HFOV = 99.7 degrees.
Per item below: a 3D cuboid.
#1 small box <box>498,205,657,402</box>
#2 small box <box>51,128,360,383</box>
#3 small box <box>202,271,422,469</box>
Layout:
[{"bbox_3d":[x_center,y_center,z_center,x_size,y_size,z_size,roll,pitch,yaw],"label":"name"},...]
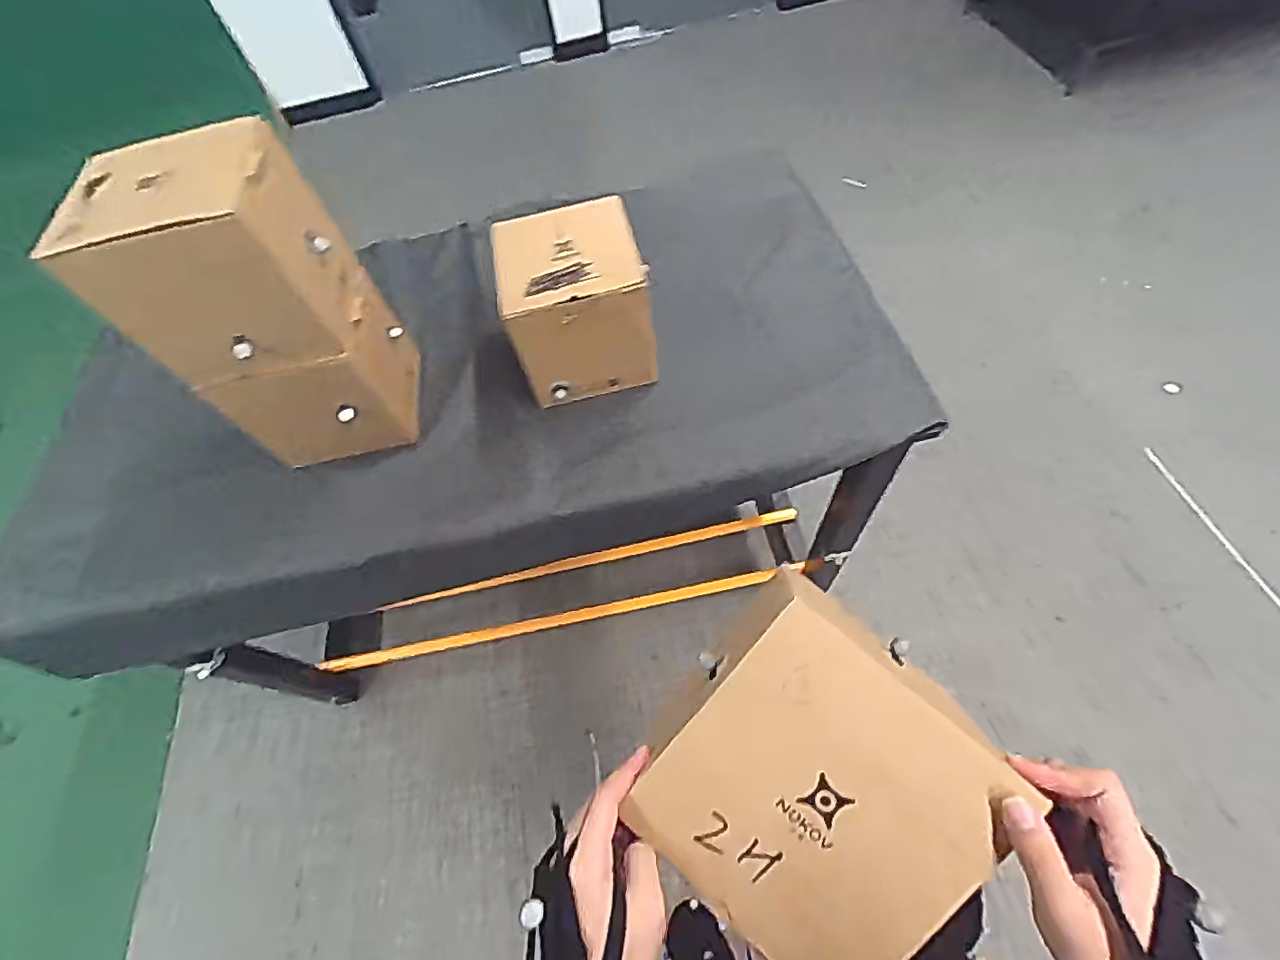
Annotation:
[{"bbox_3d":[-0.077,-0.223,0.716,0.168,0.176,0.179,-13,58,-1],"label":"small box"},{"bbox_3d":[-0.423,-0.228,0.569,0.179,0.176,0.168,-13,58,-2],"label":"small box"},{"bbox_3d":[-0.404,-0.137,0.705,0.179,0.176,0.168,-12,57,0],"label":"small box"}]
